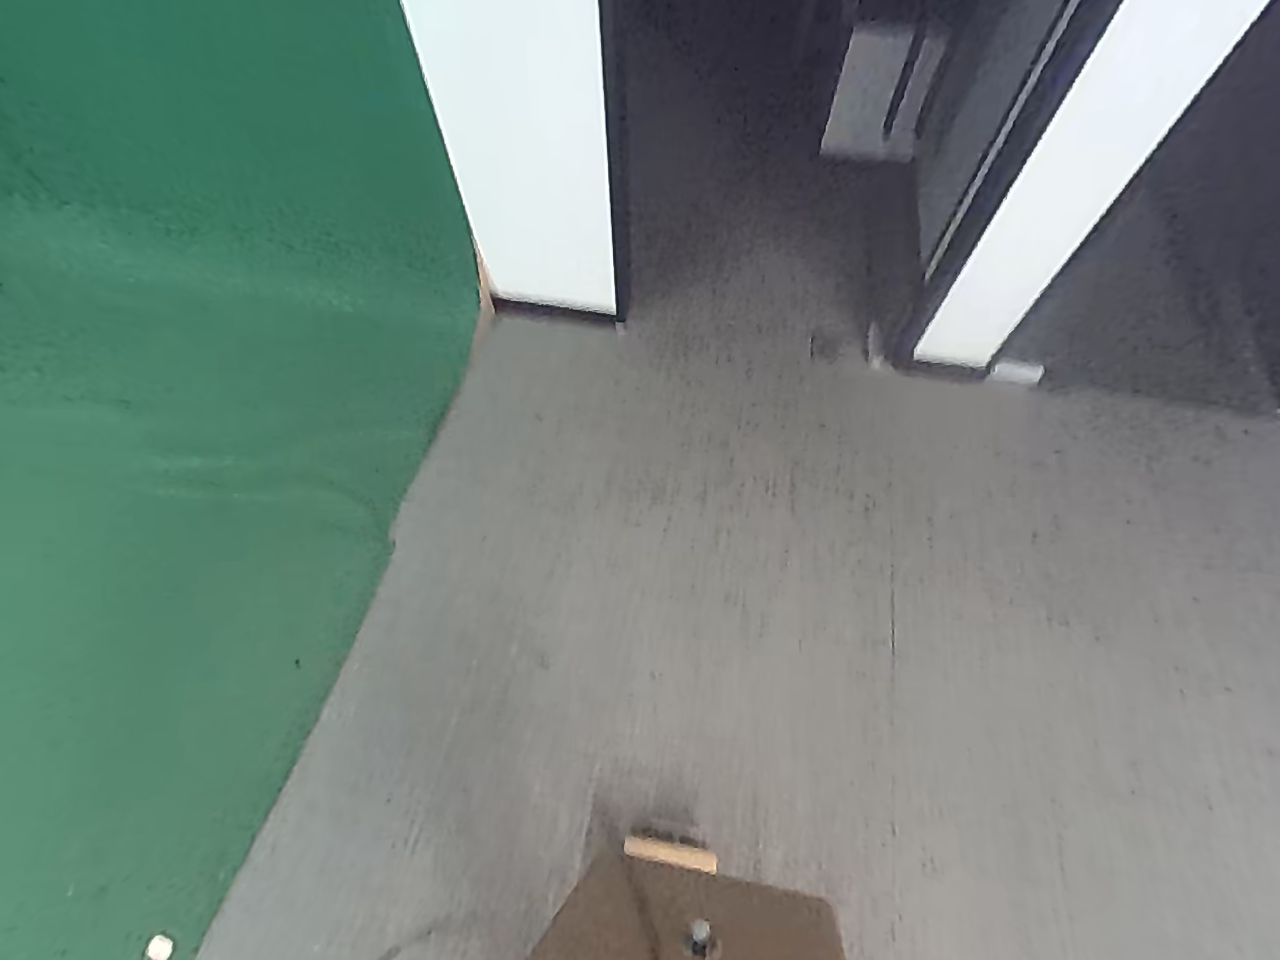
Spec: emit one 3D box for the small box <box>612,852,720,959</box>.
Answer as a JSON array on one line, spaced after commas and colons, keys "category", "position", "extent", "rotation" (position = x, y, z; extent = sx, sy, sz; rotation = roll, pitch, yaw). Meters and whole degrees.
[{"category": "small box", "position": [0.049, 0.817, 1.020], "extent": [0.179, 0.176, 0.168], "rotation": [7, 58, 5]}]
